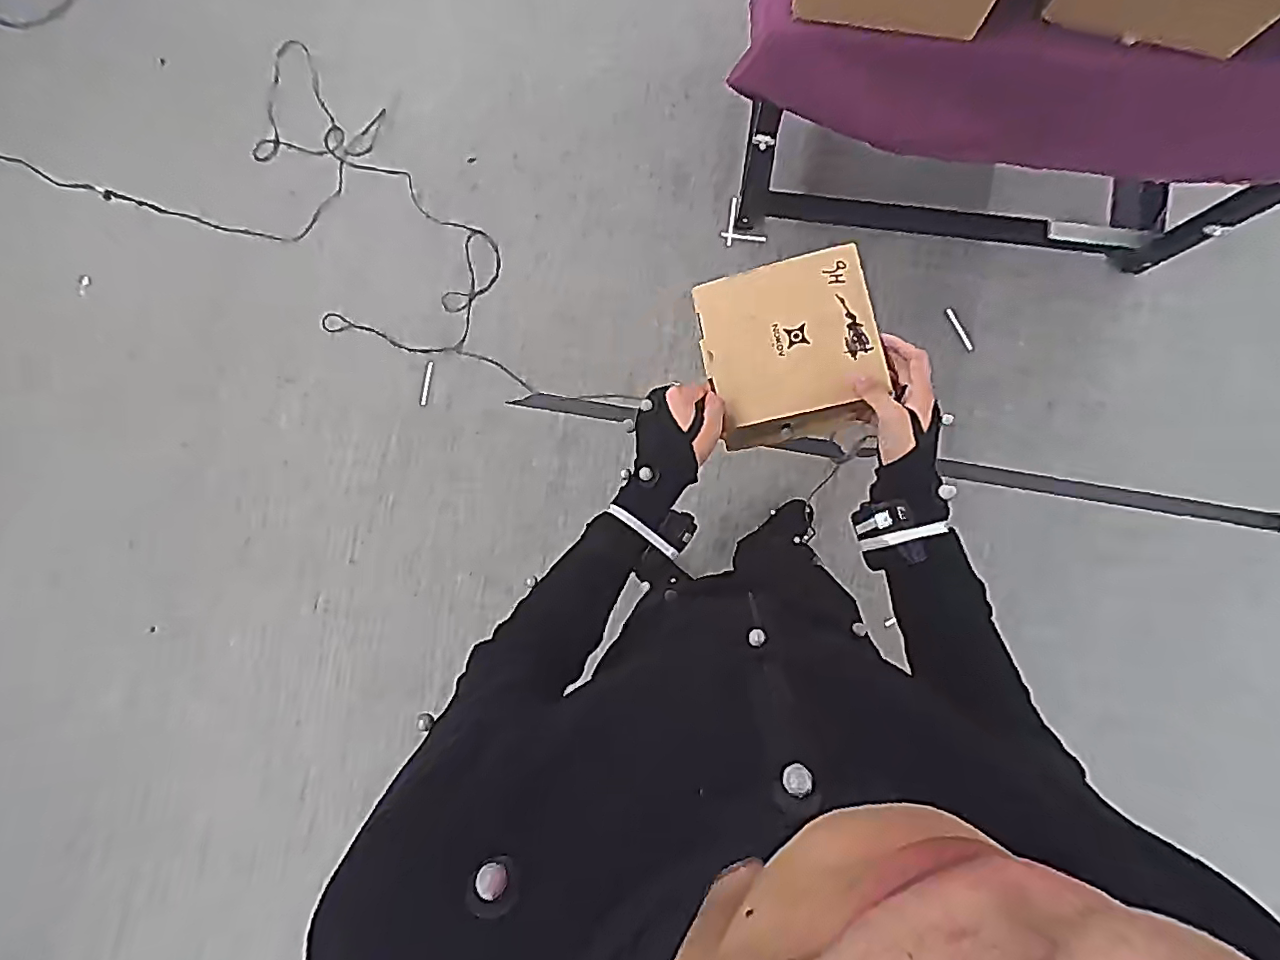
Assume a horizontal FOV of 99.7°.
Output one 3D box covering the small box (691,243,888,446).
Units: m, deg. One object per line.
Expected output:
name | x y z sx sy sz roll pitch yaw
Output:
small box | 0.169 -0.144 0.644 0.179 0.176 0.168 -12 83 11
